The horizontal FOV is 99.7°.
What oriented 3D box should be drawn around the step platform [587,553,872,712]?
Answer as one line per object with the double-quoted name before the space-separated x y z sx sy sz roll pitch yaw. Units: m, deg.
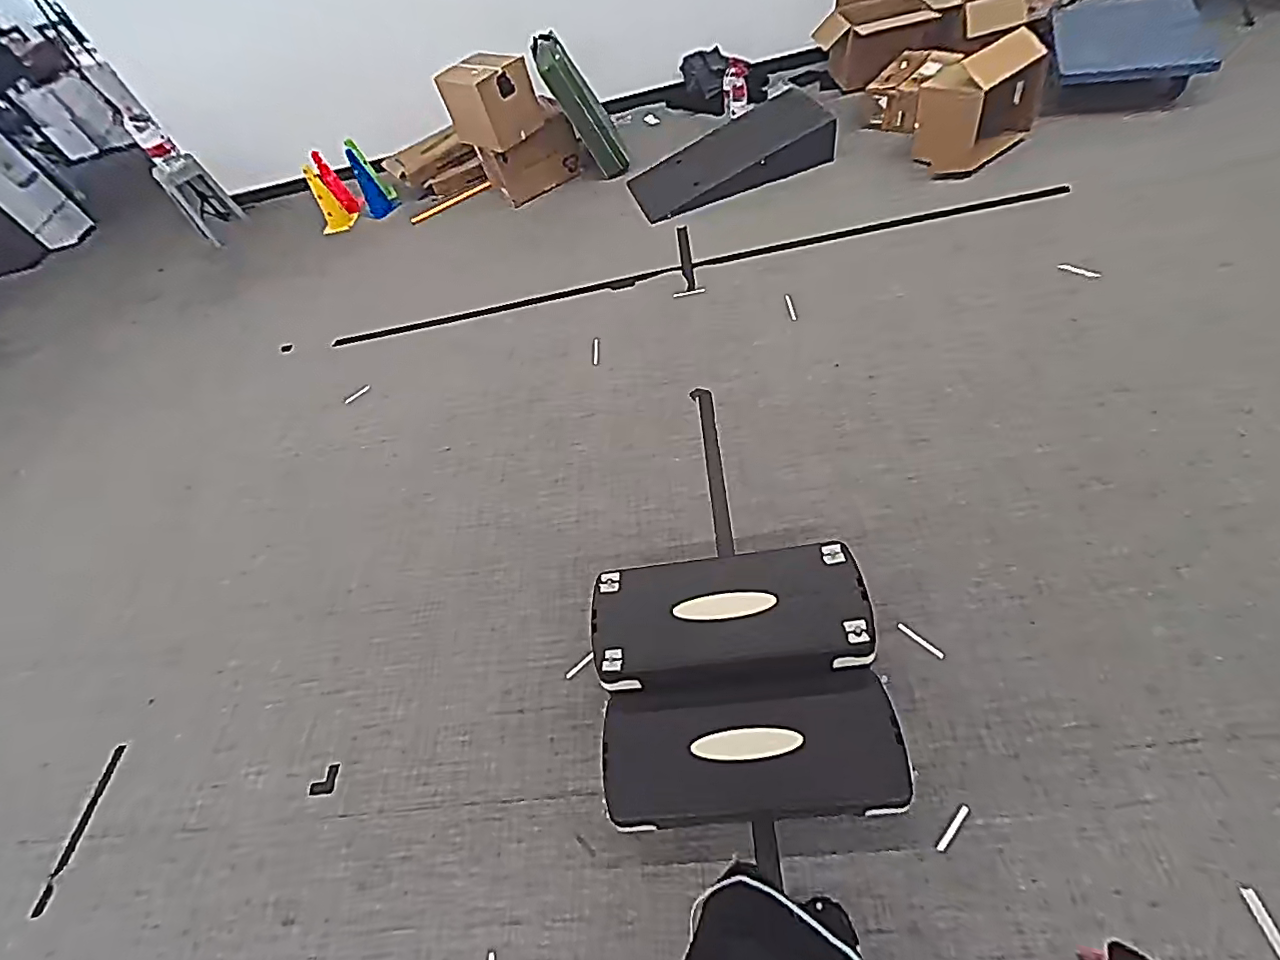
"step platform" 0.209 0.383 1.359 0.684 0.204 0.286 -9 54 6
